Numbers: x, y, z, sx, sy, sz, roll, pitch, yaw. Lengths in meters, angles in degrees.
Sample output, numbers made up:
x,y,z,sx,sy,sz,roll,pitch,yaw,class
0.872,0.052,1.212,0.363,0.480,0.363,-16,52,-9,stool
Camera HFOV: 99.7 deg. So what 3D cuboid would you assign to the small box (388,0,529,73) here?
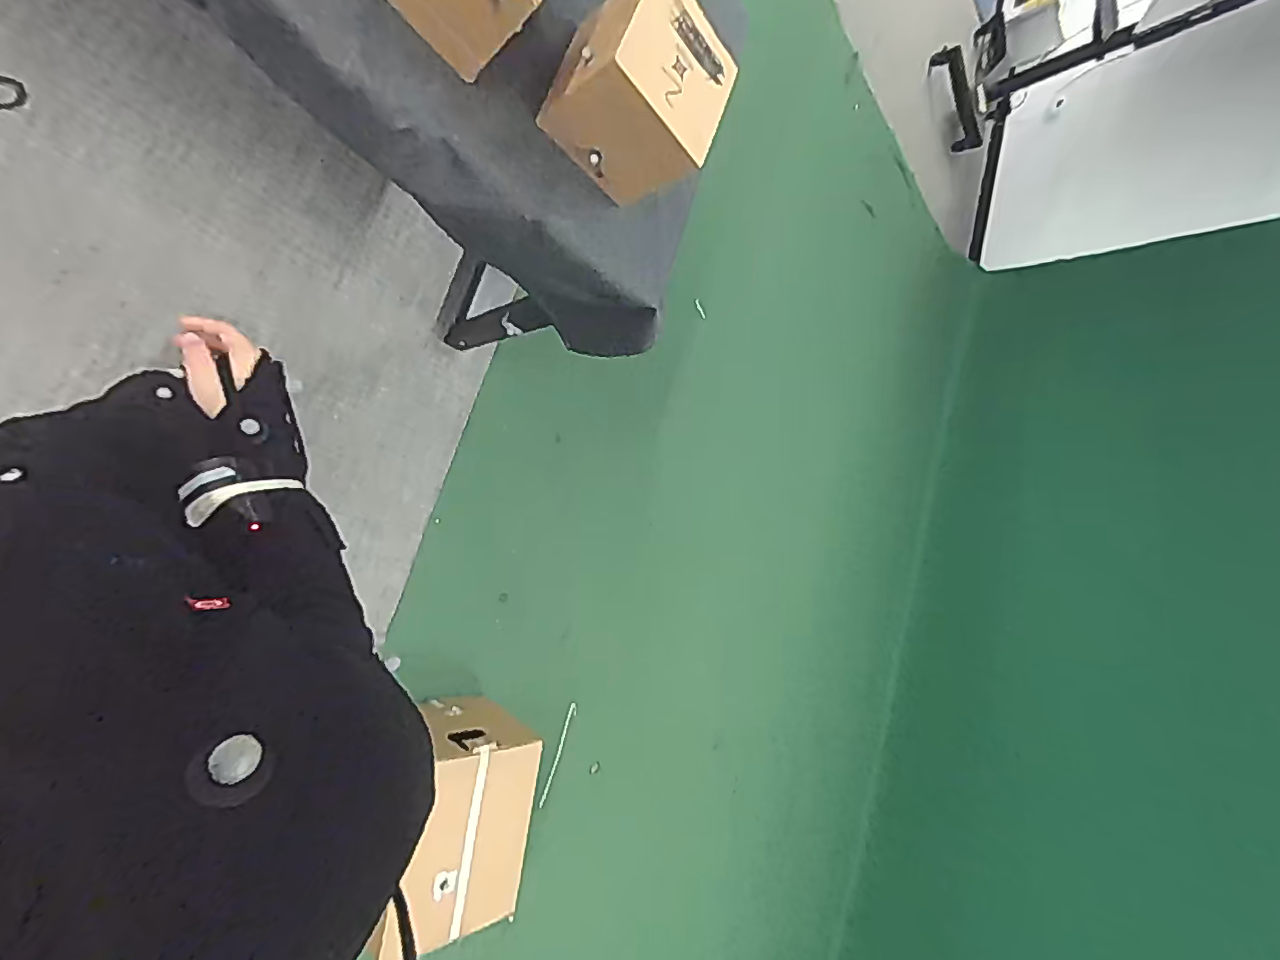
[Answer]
x,y,z,sx,sy,sz,roll,pitch,yaw,class
-0.190,-0.582,0.556,0.179,0.176,0.168,33,70,-41,small box
